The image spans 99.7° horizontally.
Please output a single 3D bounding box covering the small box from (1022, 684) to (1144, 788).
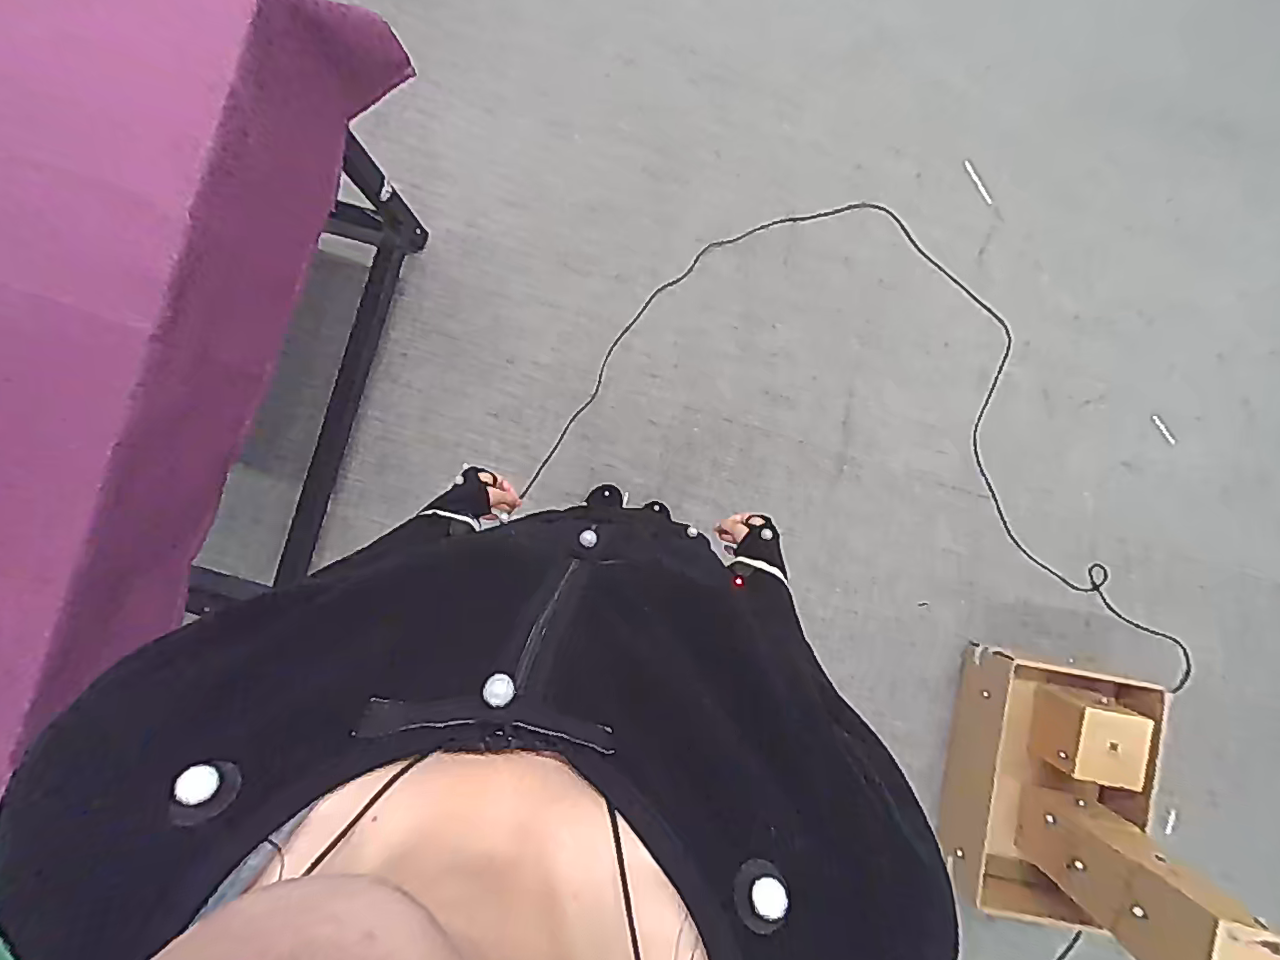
[{"bbox_3d":[1.121,0.644,1.382,0.168,0.176,0.179,11,90,1],"label":"small box"}]

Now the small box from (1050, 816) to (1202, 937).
[{"bbox_3d":[1.078,0.893,1.211,0.179,0.176,0.168,13,88,1],"label":"small box"}]

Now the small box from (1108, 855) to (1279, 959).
[{"bbox_3d":[1.066,0.884,1.046,0.168,0.176,0.179,17,88,0],"label":"small box"}]
